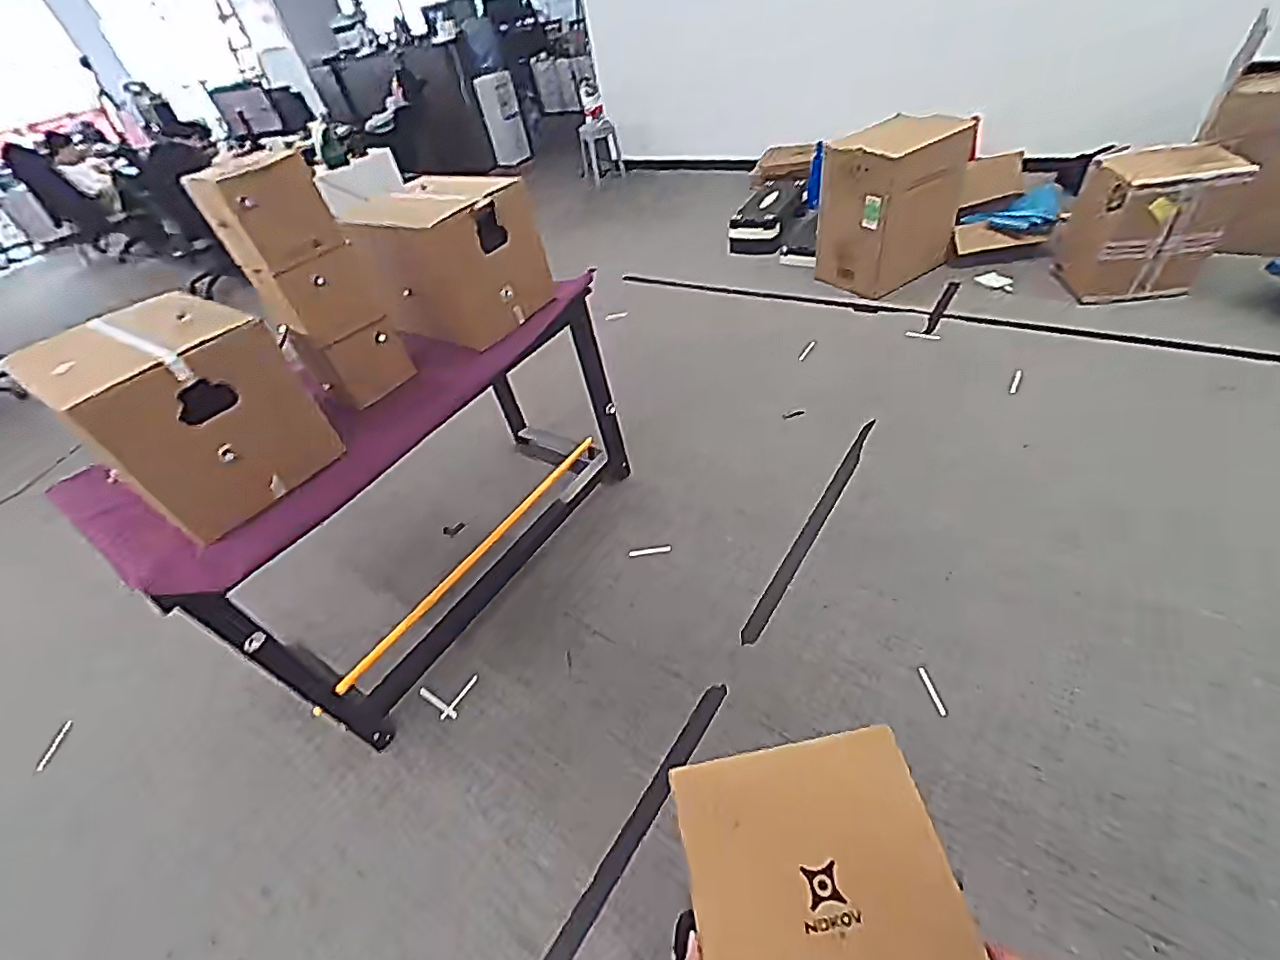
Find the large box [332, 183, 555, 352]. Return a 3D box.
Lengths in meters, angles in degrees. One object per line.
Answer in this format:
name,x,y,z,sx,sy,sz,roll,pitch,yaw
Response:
large box,-0.505,-0.572,1.444,0.408,0.320,0.320,18,50,31
